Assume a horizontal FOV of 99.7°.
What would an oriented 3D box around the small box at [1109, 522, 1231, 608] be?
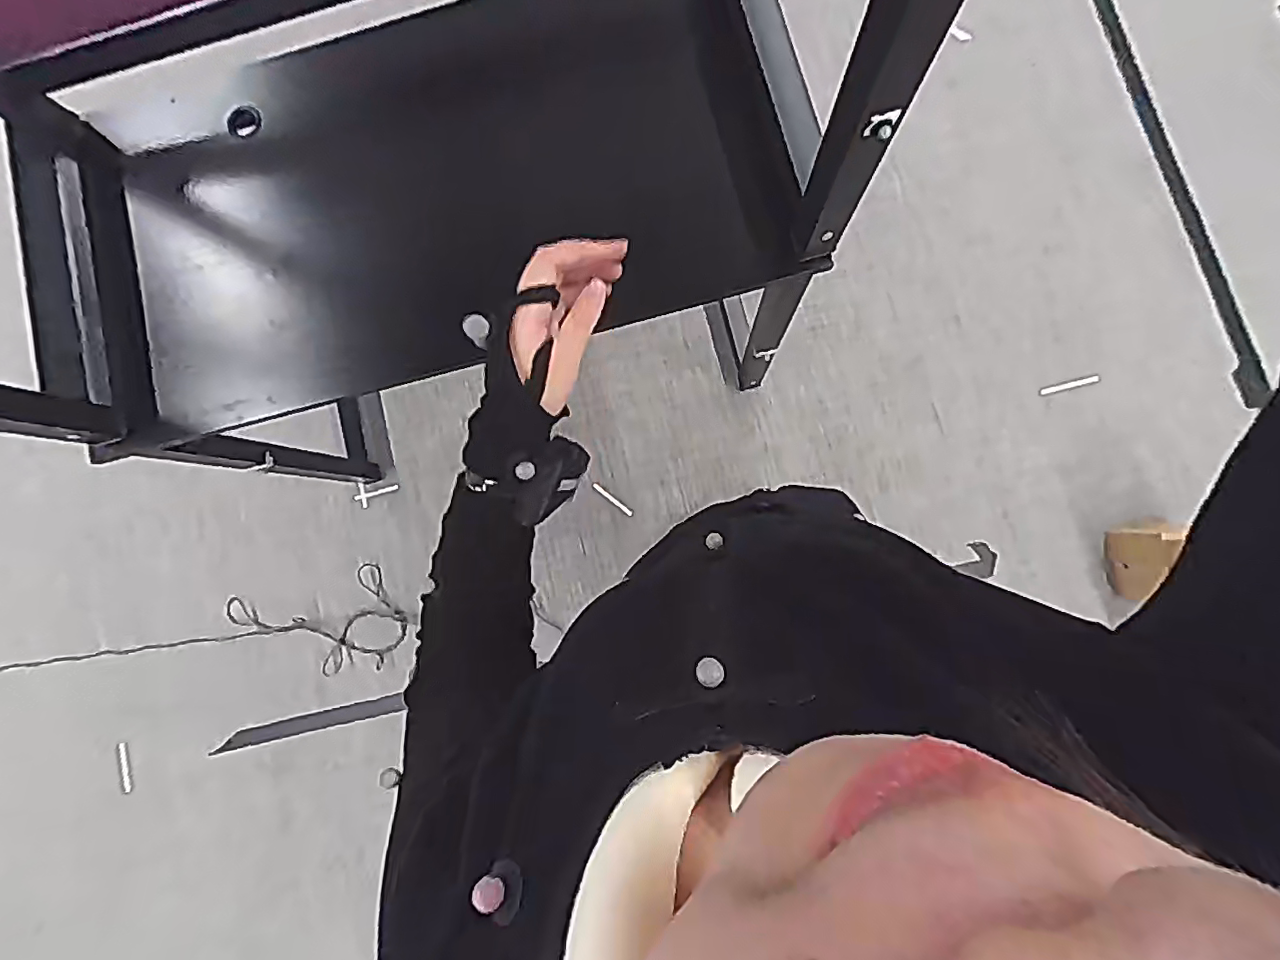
[{"bbox_3d":[1.298,0.200,1.311,0.168,0.176,0.179,-9,85,4],"label":"small box"}]
